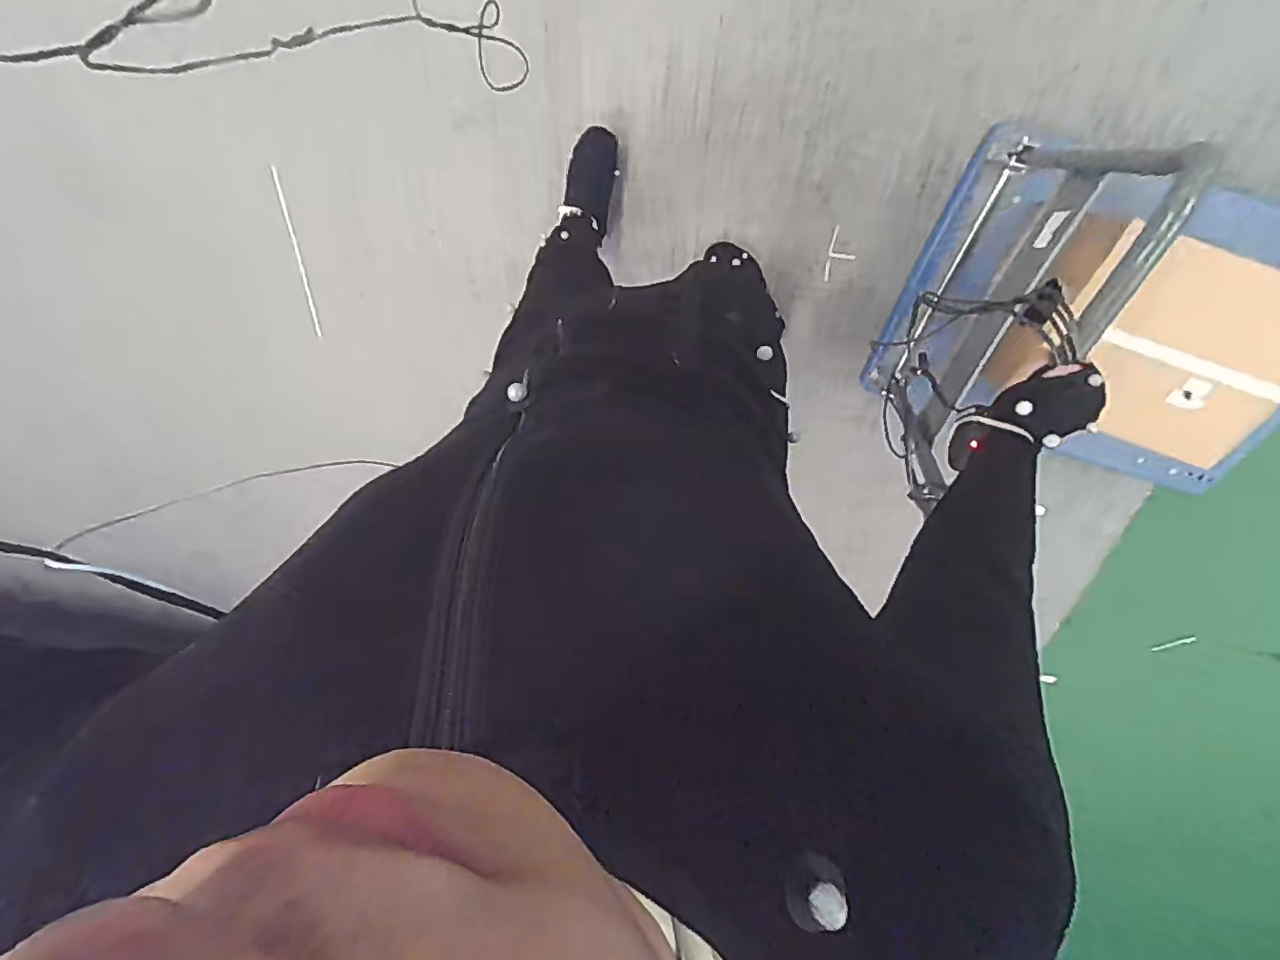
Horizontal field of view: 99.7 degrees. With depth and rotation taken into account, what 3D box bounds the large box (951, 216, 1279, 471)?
[{"bbox_3d":[0.907,-0.274,1.032,0.408,0.320,0.320,20,123,-1],"label":"large box"}]
